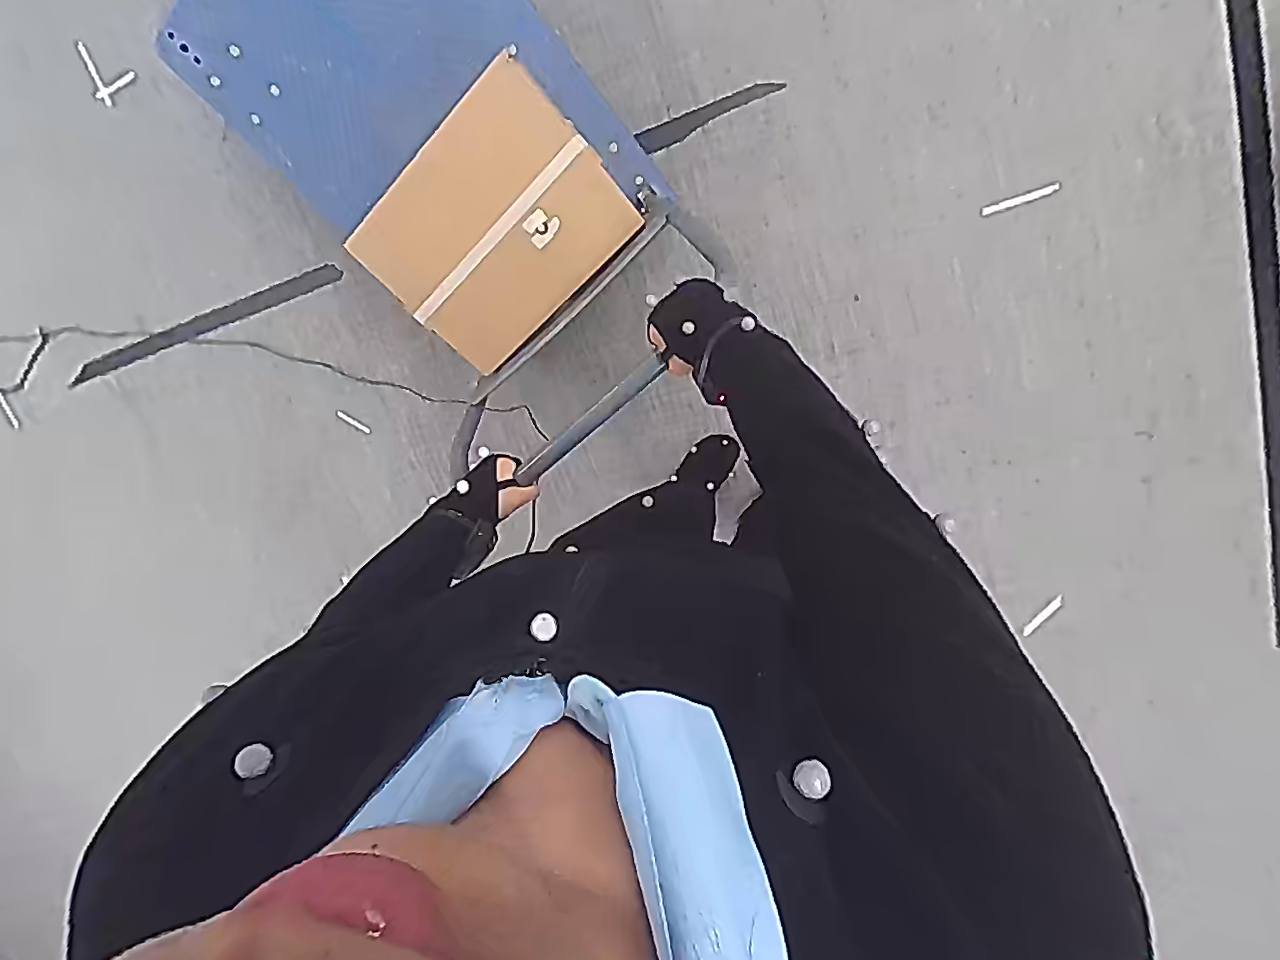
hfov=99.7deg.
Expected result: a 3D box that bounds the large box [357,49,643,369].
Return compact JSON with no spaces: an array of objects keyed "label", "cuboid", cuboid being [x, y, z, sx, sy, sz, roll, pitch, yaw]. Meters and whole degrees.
[{"label":"large box","cuboid":[-0.248,-0.495,1.049,0.408,0.320,0.320,-40,115,16]}]
